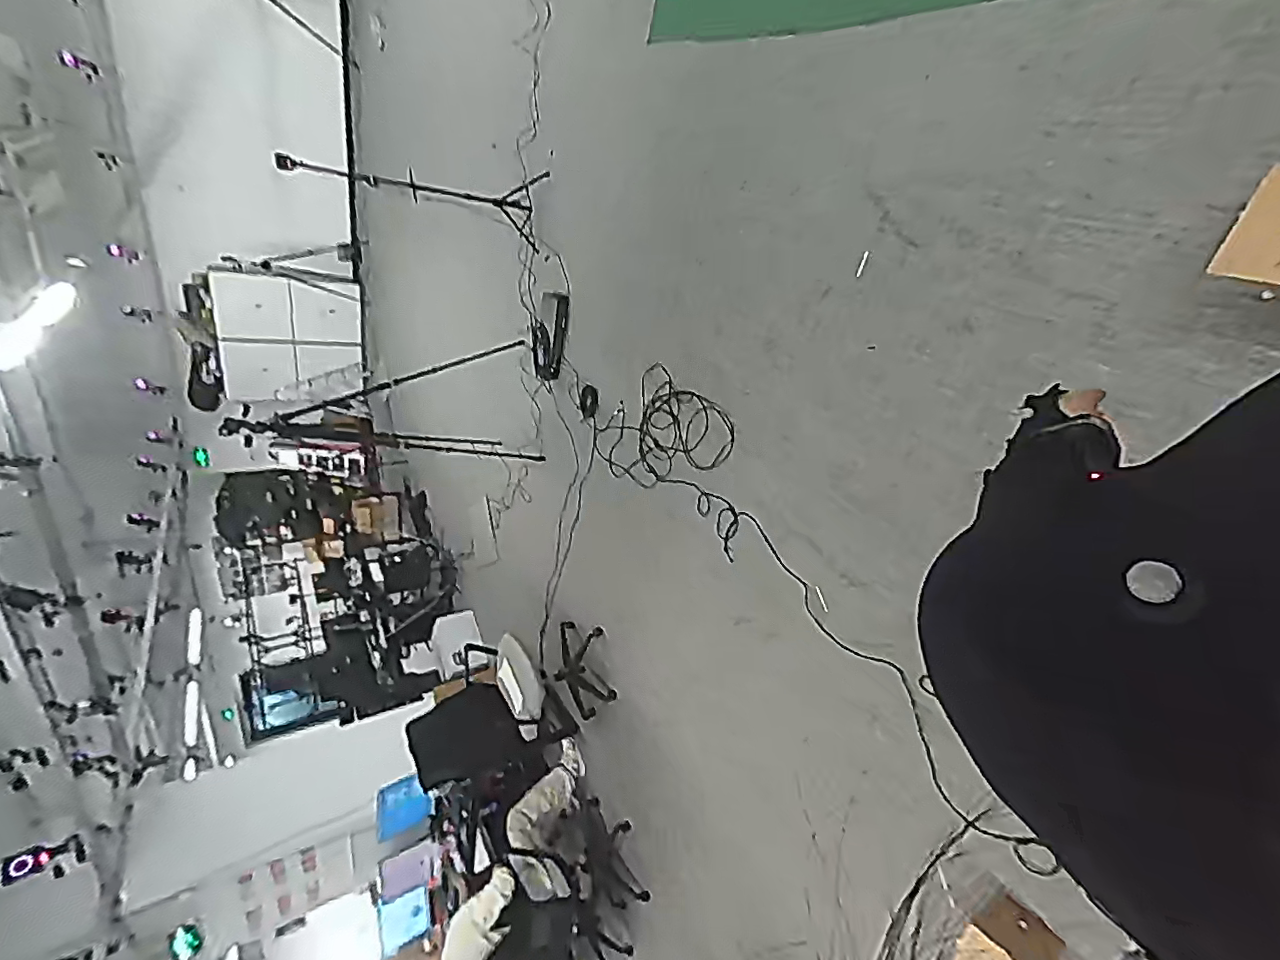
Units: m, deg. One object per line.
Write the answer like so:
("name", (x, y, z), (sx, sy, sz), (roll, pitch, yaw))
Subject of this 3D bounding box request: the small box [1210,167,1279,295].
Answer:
("small box", (1.104, -0.397, 0.883), (0.168, 0.176, 0.179), (41, 130, 44))

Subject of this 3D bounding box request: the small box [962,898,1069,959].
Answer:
("small box", (0.974, 1.258, 1.407), (0.168, 0.176, 0.179), (29, 119, 49))
